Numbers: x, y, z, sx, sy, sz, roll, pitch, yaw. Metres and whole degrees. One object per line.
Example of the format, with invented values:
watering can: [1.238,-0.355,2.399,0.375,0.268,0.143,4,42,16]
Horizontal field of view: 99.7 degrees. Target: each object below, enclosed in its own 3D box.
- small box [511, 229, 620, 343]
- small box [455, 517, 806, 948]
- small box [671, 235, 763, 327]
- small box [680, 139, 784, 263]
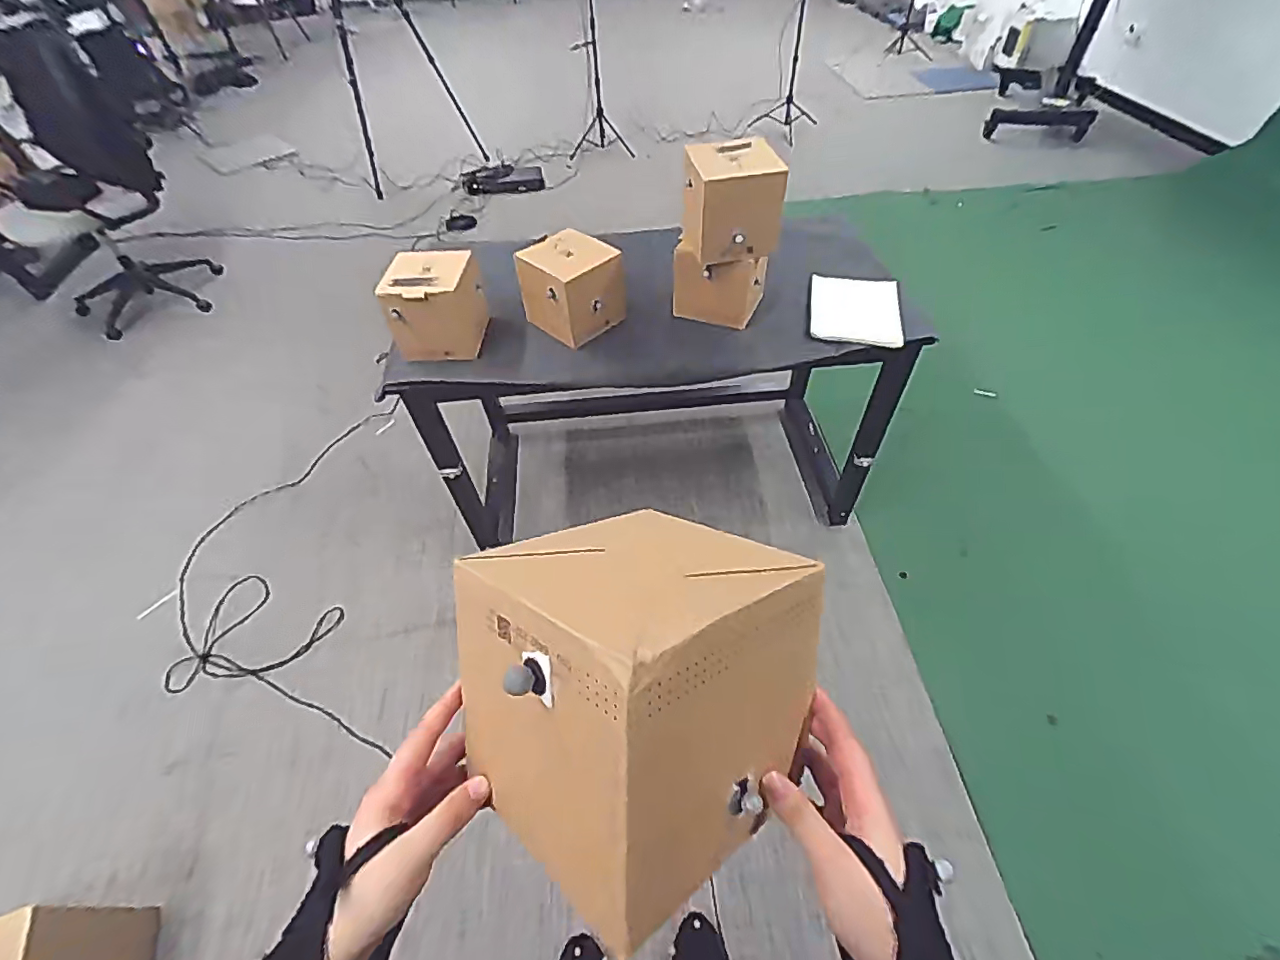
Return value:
small box: [-0.160,-0.434,1.224,0.179,0.176,0.168,36,60,28]
small box: [-0.005,0.129,0.362,0.179,0.176,0.168,-11,17,-43]
small box: [0.181,-0.475,1.243,0.179,0.176,0.168,17,53,18]
small box: [0.177,-0.569,1.107,0.168,0.176,0.179,-10,51,-4]
